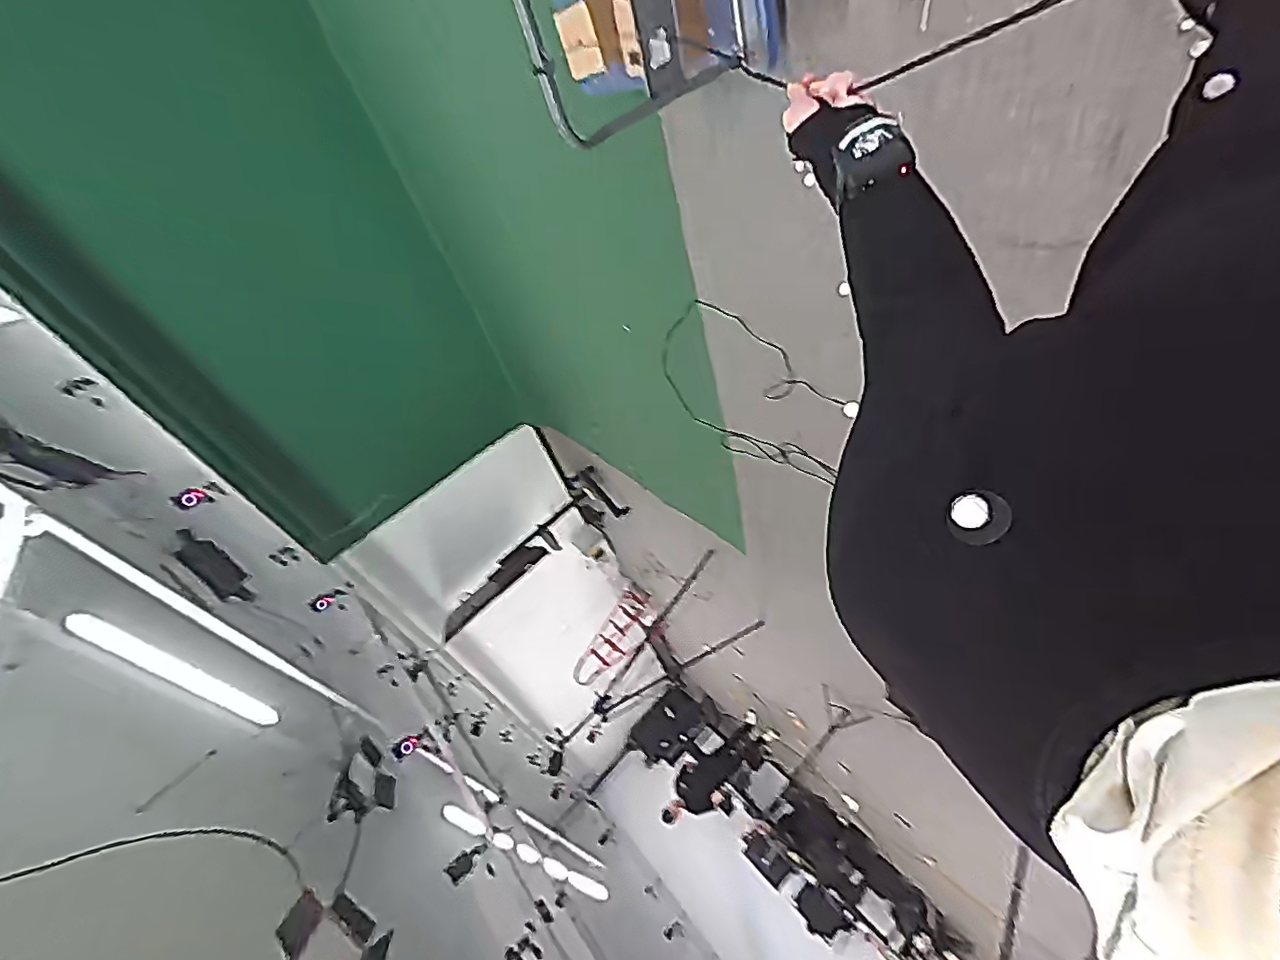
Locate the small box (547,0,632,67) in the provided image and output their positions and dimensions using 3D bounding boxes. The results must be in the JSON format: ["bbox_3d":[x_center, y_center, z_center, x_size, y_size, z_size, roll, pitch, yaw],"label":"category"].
[{"bbox_3d":[-0.143,-1.394,1.641,0.179,0.176,0.168,29,151,43],"label":"small box"}]
